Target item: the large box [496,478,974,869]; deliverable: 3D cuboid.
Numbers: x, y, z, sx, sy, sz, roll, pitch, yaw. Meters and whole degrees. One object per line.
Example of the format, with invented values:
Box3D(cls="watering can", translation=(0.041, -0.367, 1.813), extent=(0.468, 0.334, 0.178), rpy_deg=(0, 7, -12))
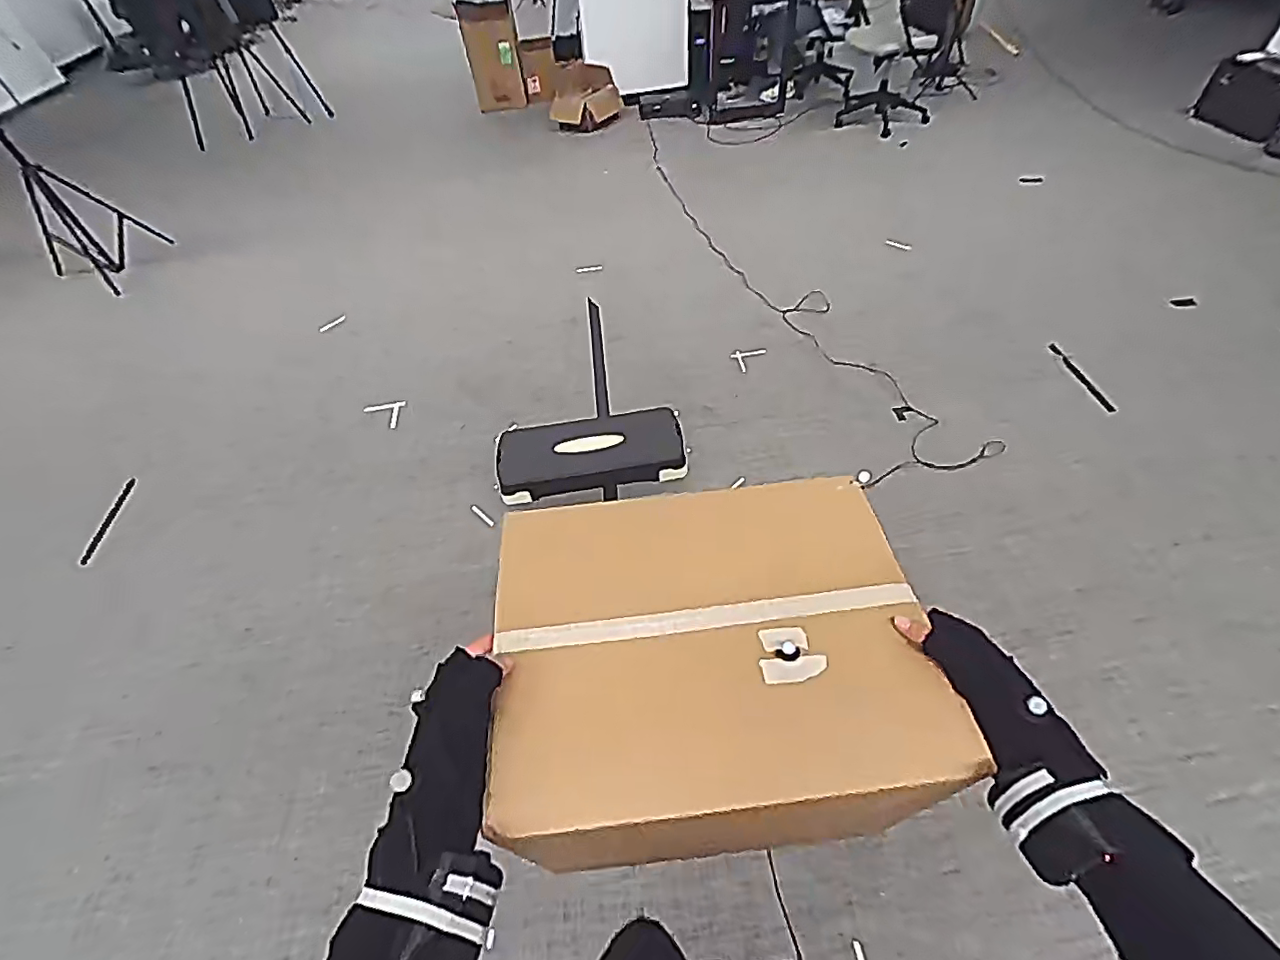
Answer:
Box3D(cls="large box", translation=(0.069, 0.233, 0.642), extent=(0.408, 0.320, 0.320), rpy_deg=(-6, 50, -2))
